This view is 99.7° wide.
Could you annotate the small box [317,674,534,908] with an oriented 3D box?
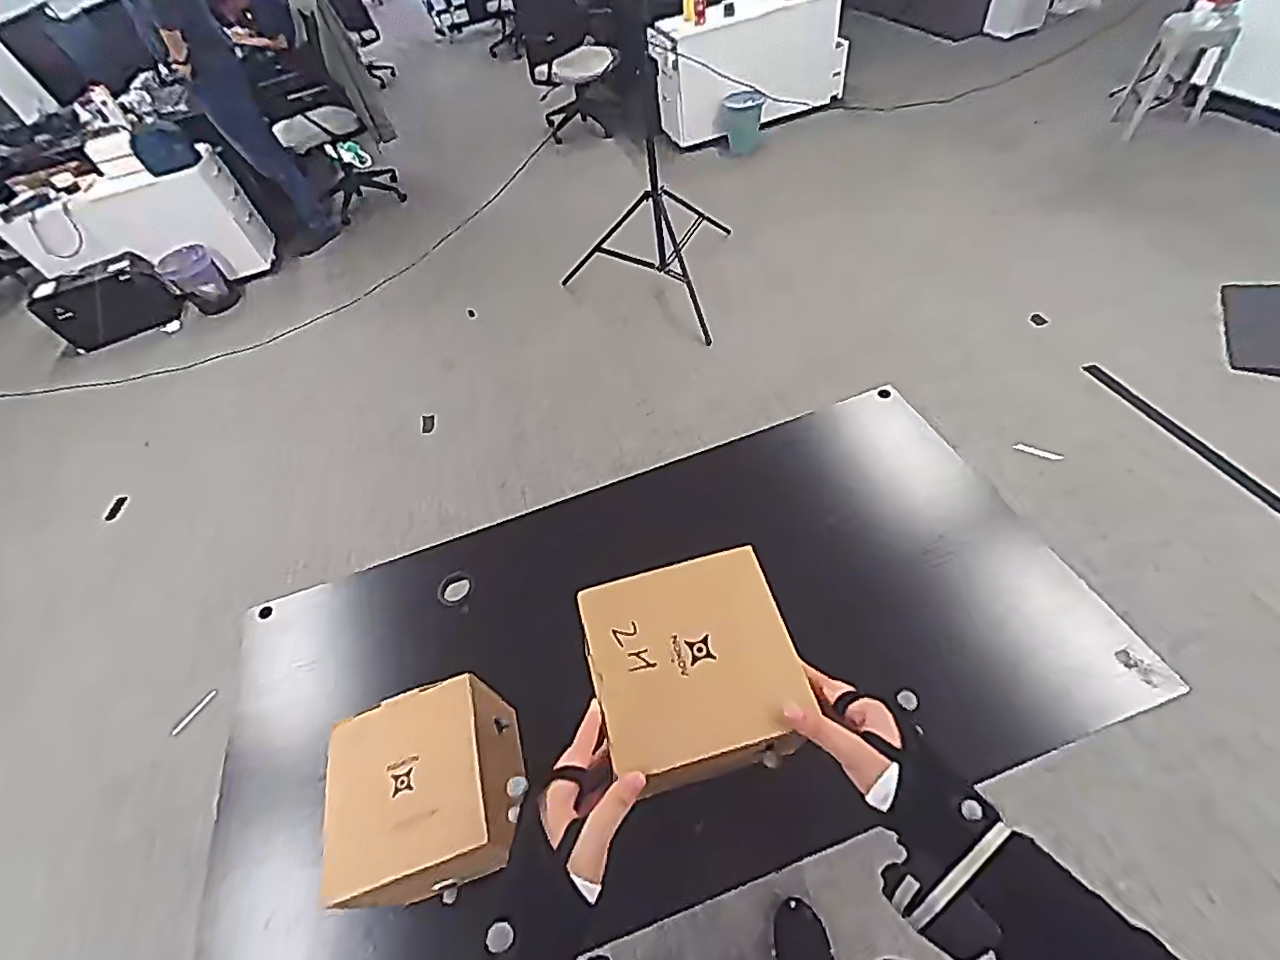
[{"bbox_3d":[-0.235,0.356,0.619,0.168,0.176,0.179,-20,52,-4],"label":"small box"}]
